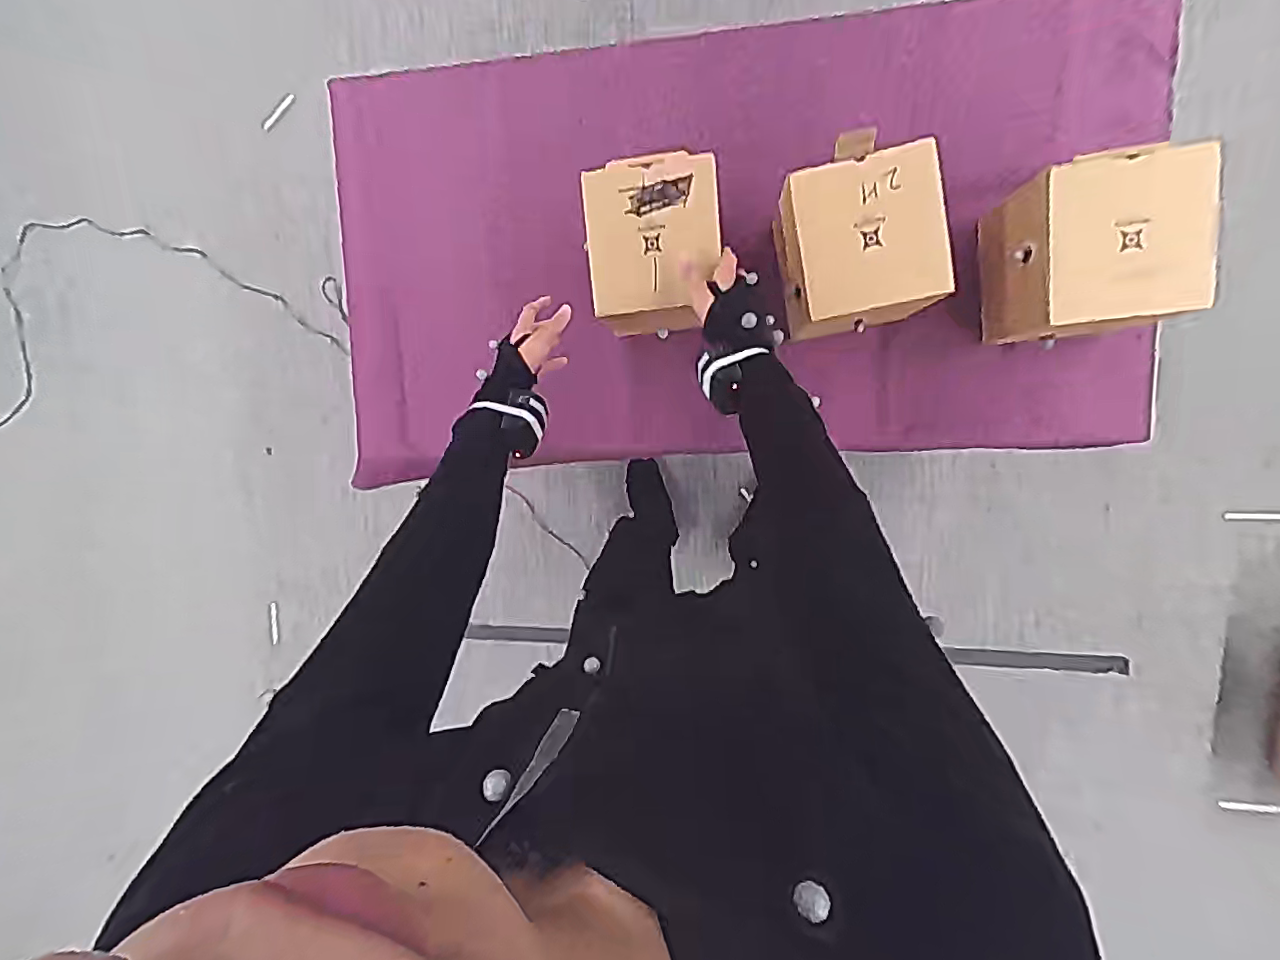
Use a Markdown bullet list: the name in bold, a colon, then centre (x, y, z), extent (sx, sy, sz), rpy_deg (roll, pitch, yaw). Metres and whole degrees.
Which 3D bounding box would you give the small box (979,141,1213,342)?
- **small box**: centre (0.549, -0.281, 0.677), extent (0.168, 0.176, 0.179), rpy_deg (-4, 95, 9)

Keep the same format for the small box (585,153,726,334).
- **small box**: centre (0.028, -0.310, 0.743), extent (0.168, 0.176, 0.179), rpy_deg (-4, 96, 8)

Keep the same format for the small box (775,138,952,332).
- **small box**: centre (0.280, -0.300, 0.710), extent (0.168, 0.176, 0.179), rpy_deg (-10, 94, 8)
